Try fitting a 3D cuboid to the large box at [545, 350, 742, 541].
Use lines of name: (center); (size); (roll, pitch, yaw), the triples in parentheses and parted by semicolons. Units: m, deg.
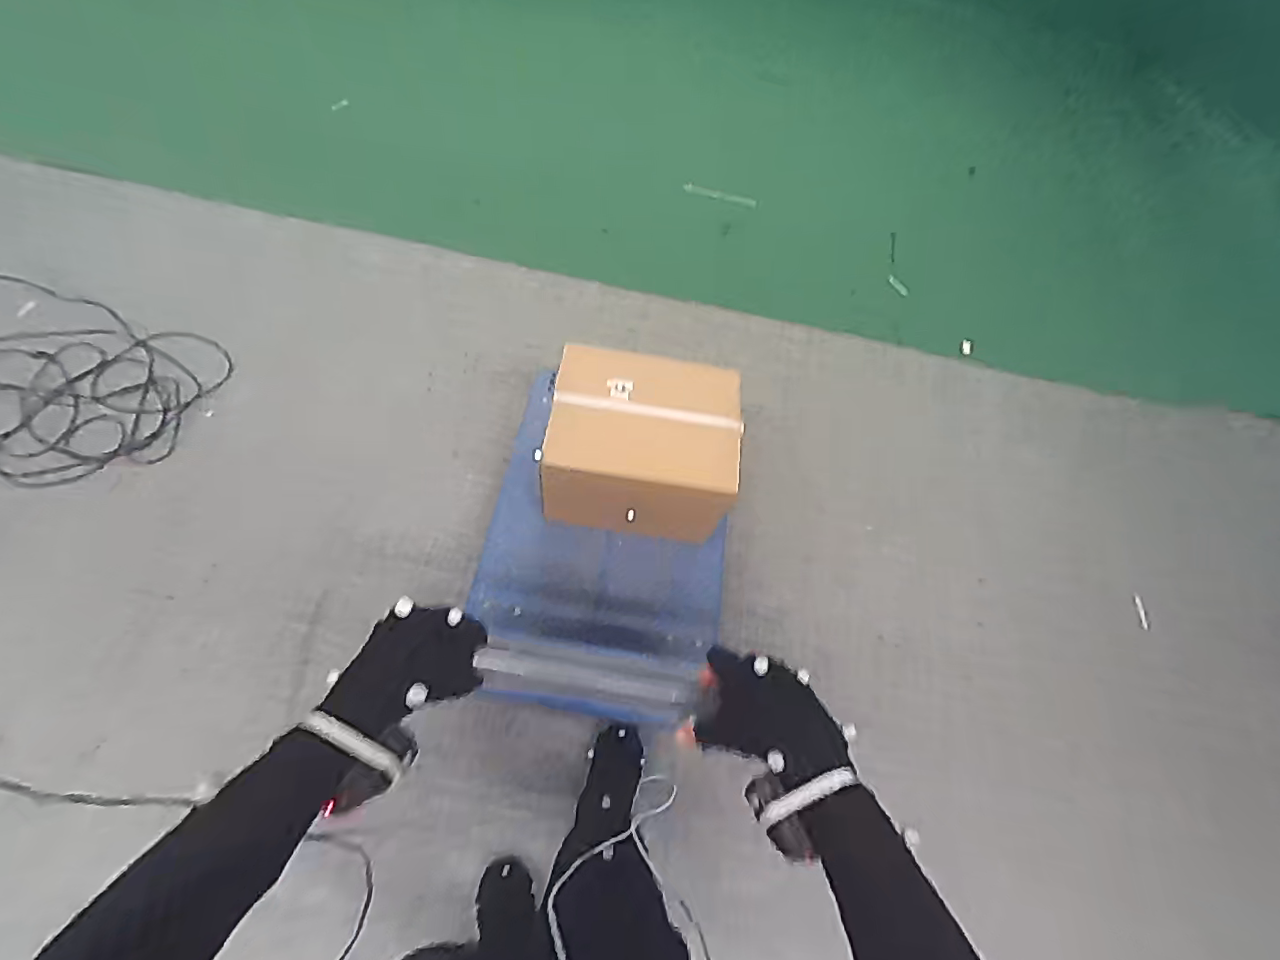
large box: (0.007, -0.066, 1.274); (0.408, 0.320, 0.320); (8, 62, -3)
